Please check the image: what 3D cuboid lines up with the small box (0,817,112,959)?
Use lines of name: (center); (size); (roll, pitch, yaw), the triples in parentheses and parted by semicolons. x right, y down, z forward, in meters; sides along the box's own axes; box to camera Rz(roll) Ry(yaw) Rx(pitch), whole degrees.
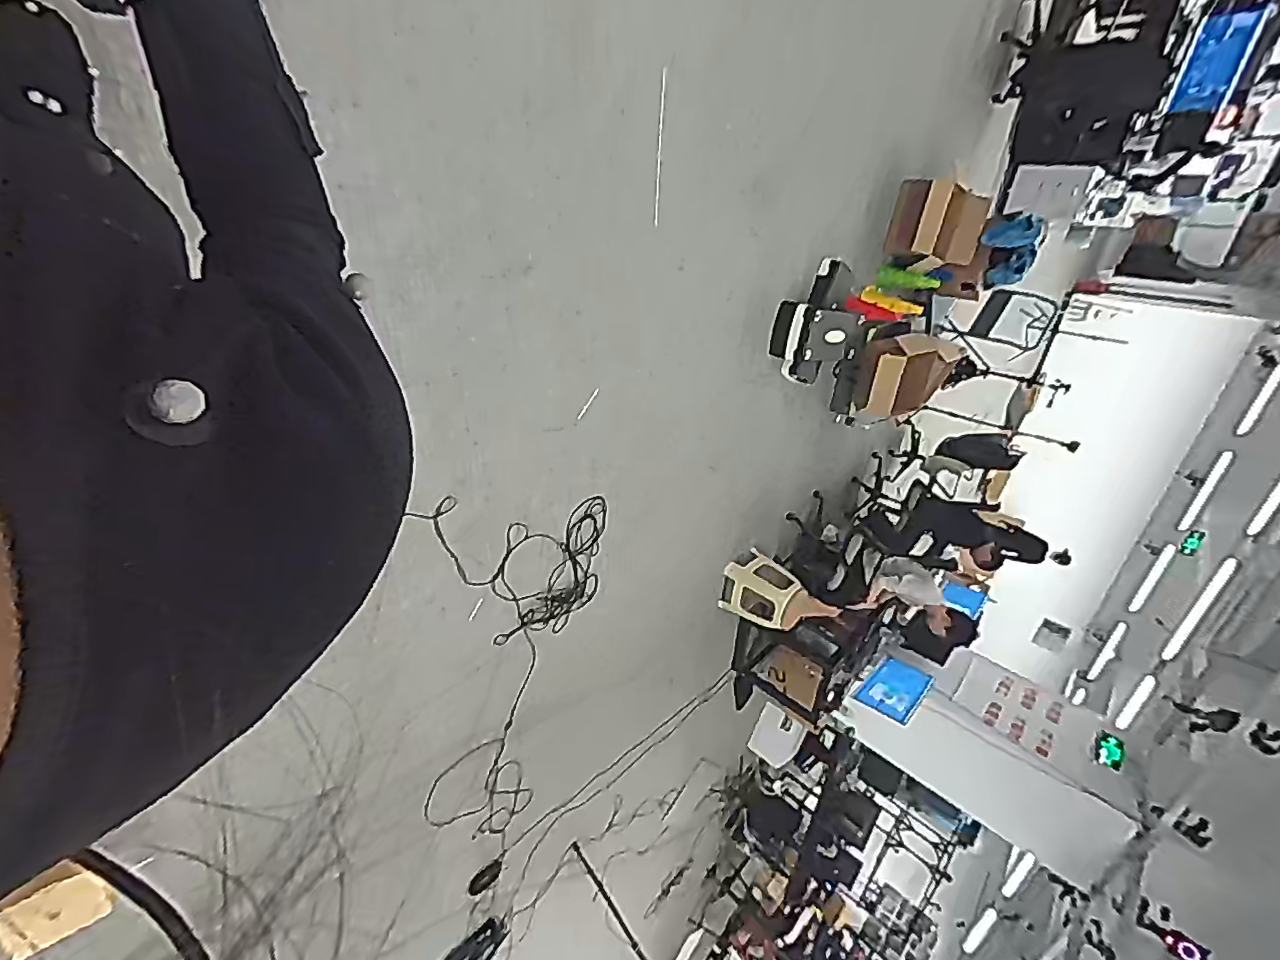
small box: (-1.375, 0.945, 1.266); (0.168, 0.176, 0.179); (-16, 122, -45)
